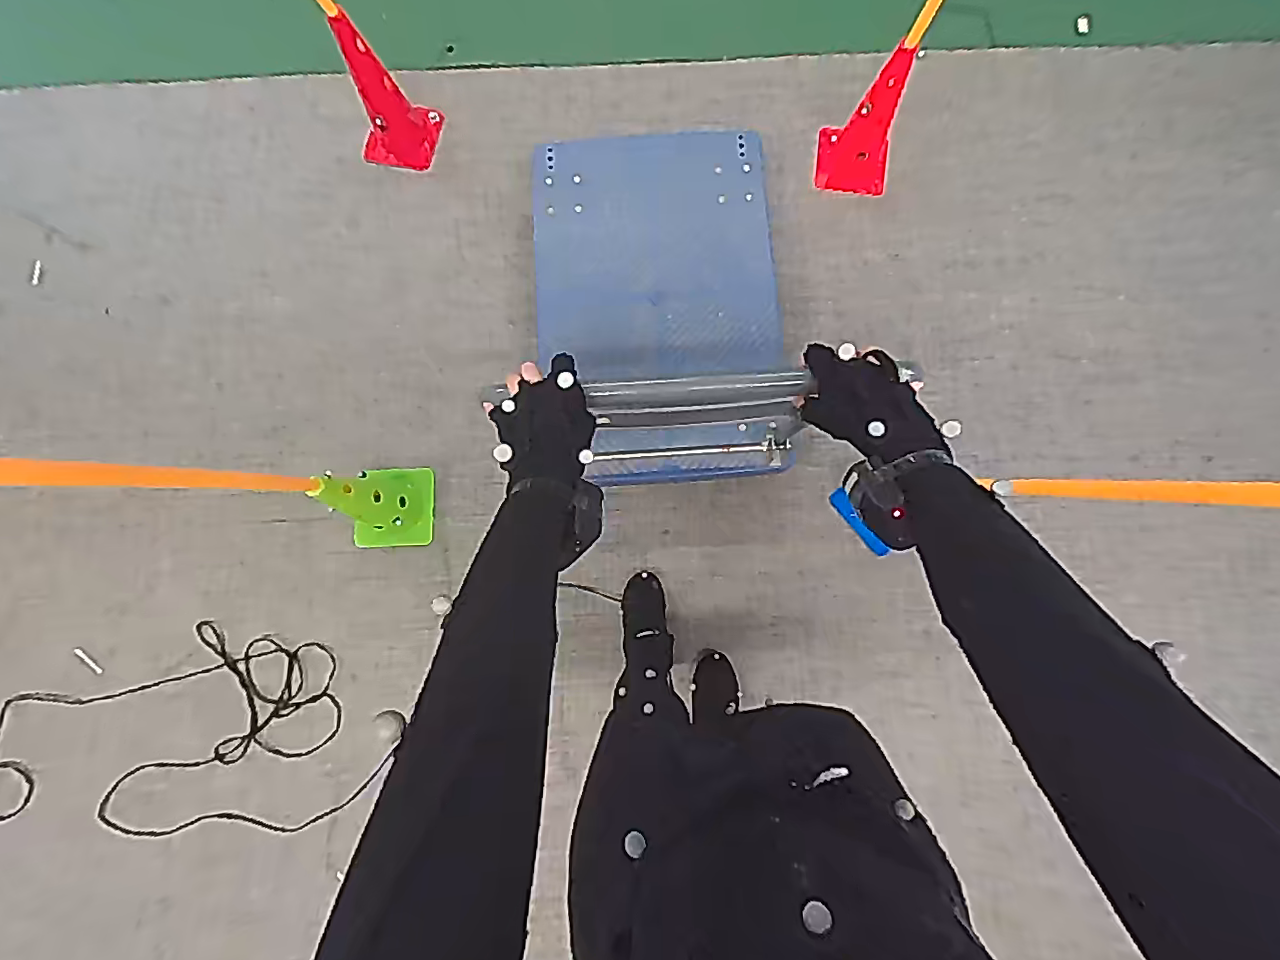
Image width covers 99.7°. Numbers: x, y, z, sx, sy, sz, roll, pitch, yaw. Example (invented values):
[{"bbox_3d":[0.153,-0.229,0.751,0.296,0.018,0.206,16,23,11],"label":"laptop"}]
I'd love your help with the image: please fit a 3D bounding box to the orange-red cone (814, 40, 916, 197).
[{"bbox_3d":[0.599,-0.931,1.372,0.198,0.360,0.199,9,81,3],"label":"orange-red cone"}]
